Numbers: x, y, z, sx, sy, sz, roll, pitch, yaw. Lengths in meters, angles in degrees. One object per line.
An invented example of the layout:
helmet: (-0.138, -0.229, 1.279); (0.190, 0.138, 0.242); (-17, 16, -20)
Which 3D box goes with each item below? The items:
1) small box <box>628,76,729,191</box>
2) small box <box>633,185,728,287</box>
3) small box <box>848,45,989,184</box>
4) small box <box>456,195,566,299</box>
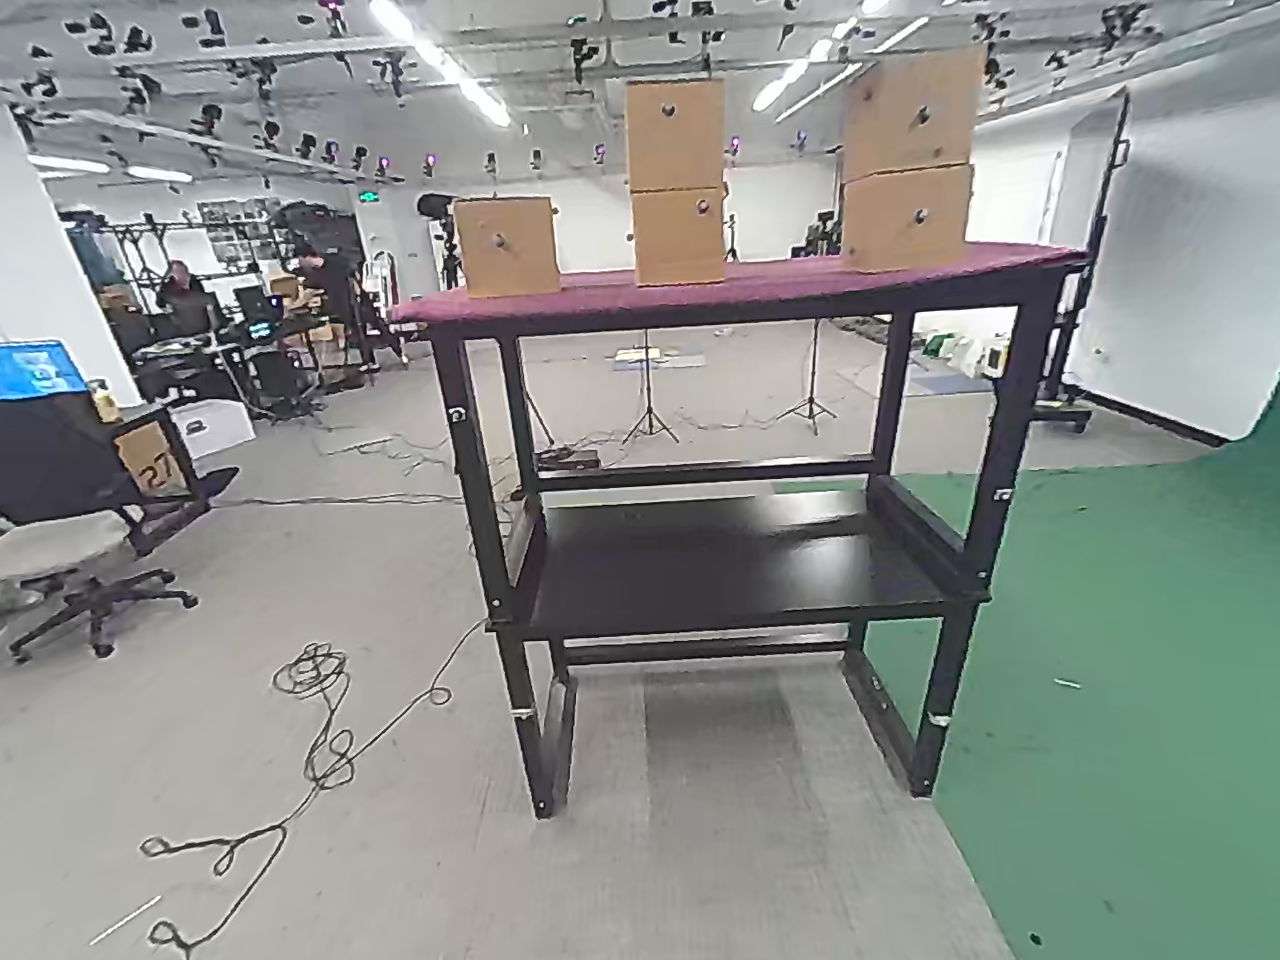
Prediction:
small box: (0.072, -0.634, 1.022); (0.179, 0.176, 0.168); (-1, 24, 1)
small box: (0.080, -0.482, 1.083); (0.179, 0.176, 0.168); (-2, 24, 2)
small box: (0.488, -0.644, 0.974); (0.168, 0.176, 0.179); (-4, 23, 3)
small box: (-0.245, -0.453, 1.057); (0.179, 0.176, 0.168); (-7, 26, -8)
